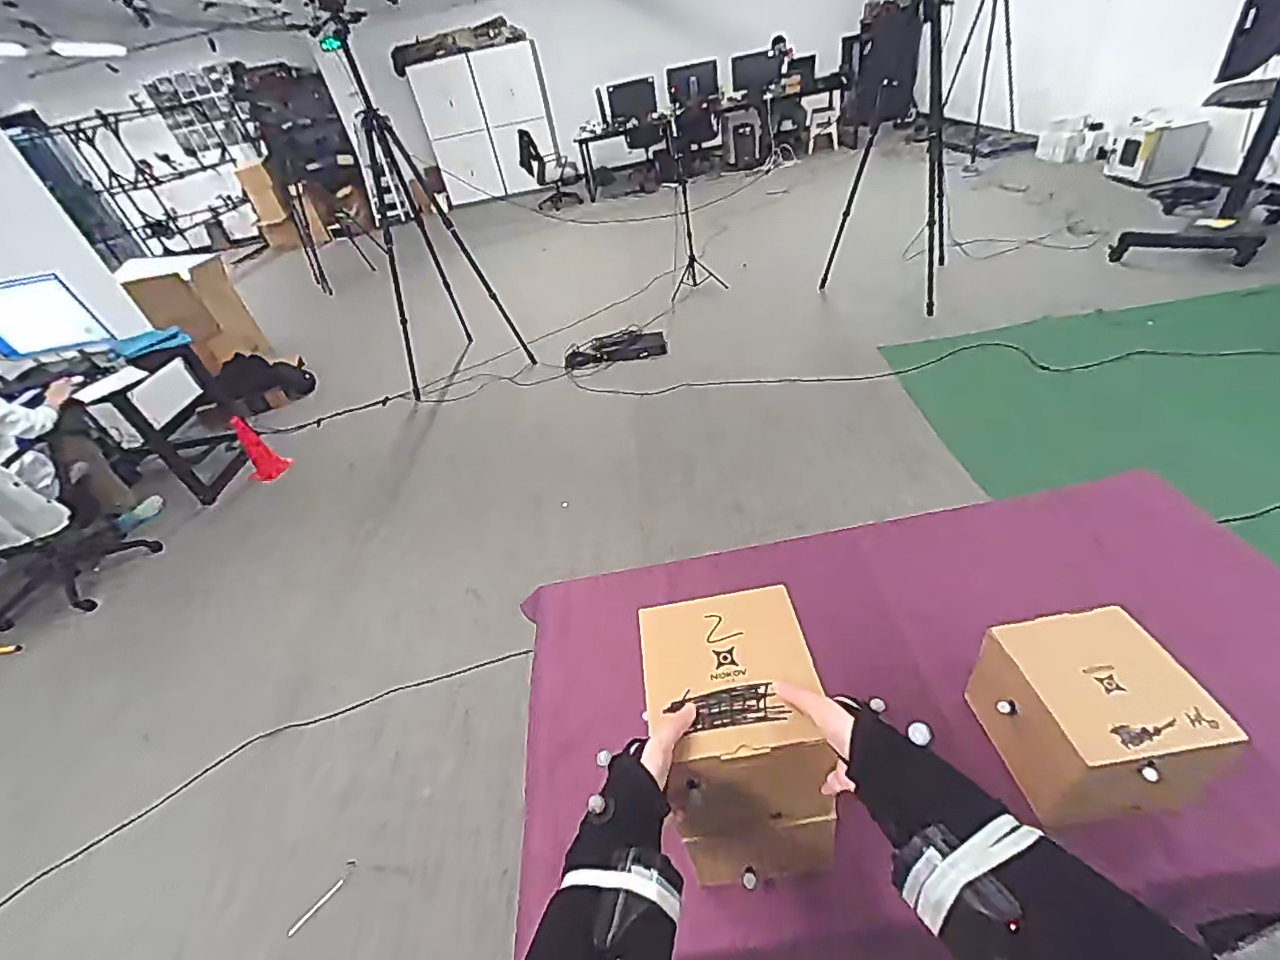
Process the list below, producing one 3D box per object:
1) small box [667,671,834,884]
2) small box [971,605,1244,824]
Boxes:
[{"bbox_3d":[0.132,0.374,0.683,0.168,0.176,0.179,-11,39,4],"label":"small box"},{"bbox_3d":[0.543,0.287,0.667,0.168,0.176,0.179,-12,37,3],"label":"small box"}]
